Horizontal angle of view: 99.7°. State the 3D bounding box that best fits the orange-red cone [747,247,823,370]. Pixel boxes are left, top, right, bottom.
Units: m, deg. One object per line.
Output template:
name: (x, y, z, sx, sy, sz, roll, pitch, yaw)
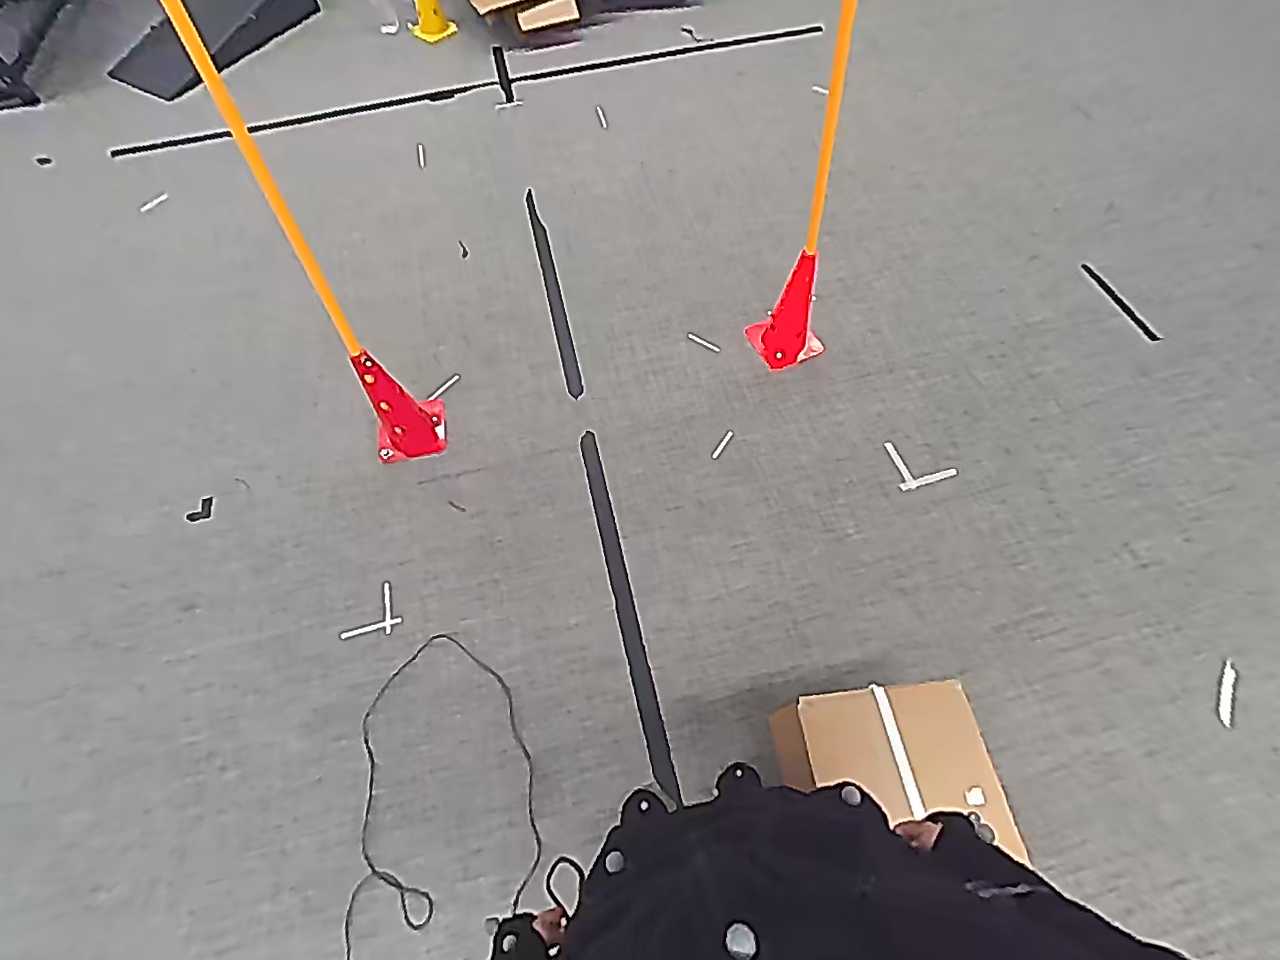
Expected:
orange-red cone: (0.468, -0.533, 1.606, 0.199, 0.360, 0.198, -21, 64, -10)
